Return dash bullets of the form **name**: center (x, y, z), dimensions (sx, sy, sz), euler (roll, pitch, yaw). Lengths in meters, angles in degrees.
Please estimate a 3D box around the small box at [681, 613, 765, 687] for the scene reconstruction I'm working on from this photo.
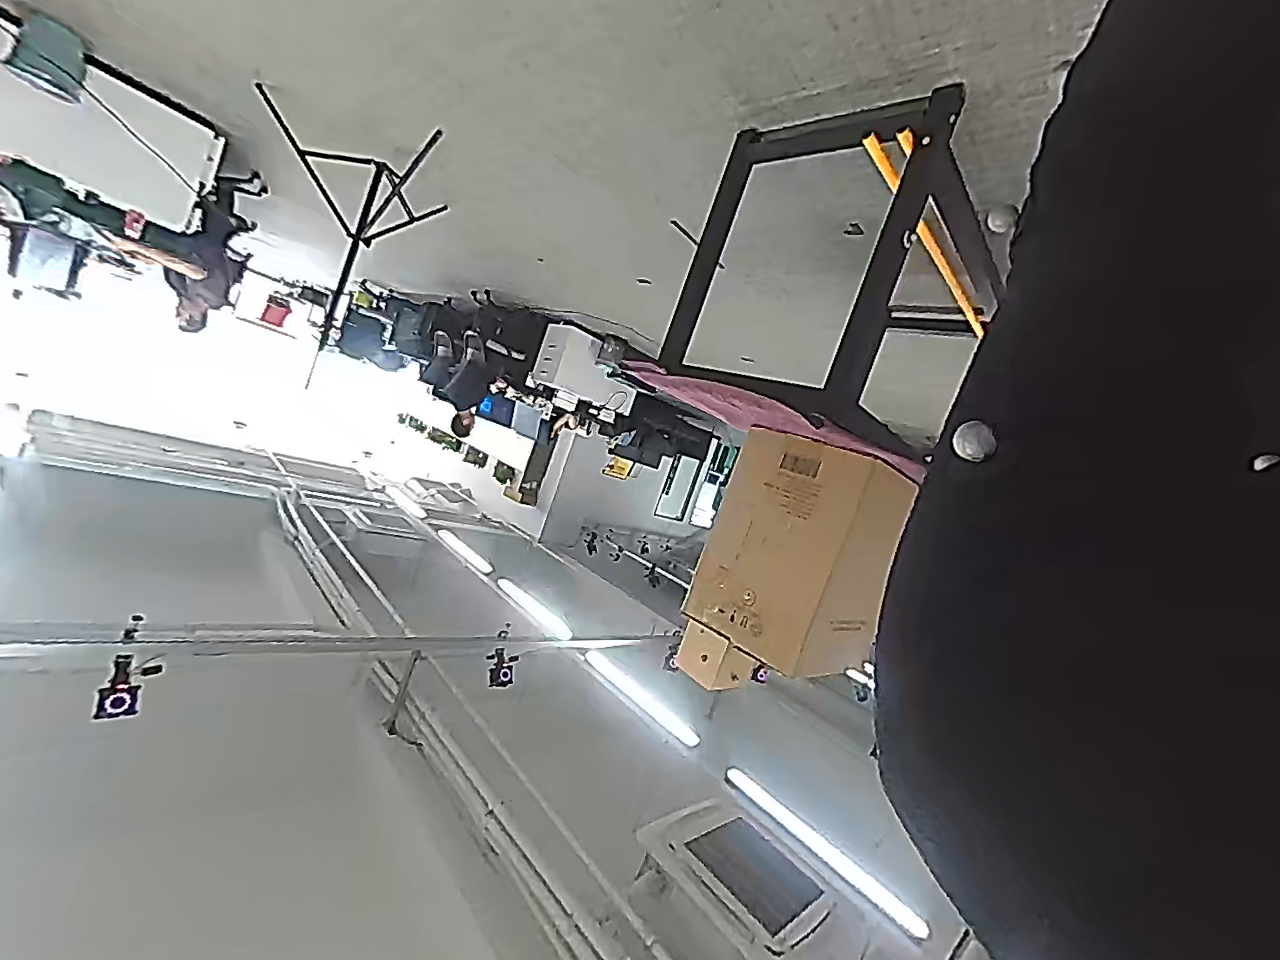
- **small box**: center (0.262, 0.528, 1.698), dimensions (0.179, 0.176, 0.168), euler (14, -174, -41)
